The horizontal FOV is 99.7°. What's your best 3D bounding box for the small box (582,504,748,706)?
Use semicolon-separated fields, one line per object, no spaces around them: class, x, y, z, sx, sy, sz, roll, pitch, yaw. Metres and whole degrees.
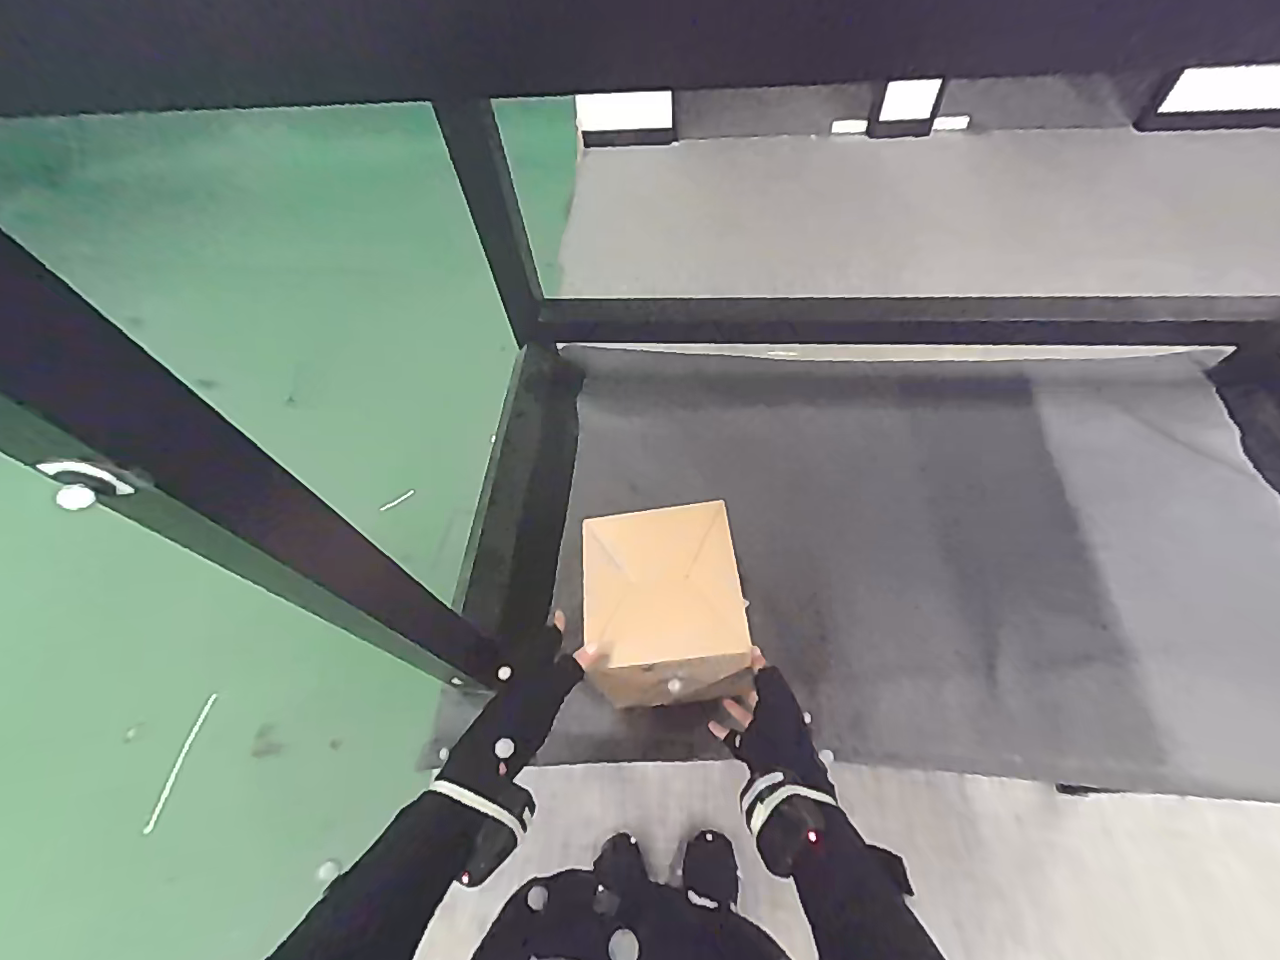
small box;0.031;0.148;0.634;0.168;0.176;0.179;-8;54;4
